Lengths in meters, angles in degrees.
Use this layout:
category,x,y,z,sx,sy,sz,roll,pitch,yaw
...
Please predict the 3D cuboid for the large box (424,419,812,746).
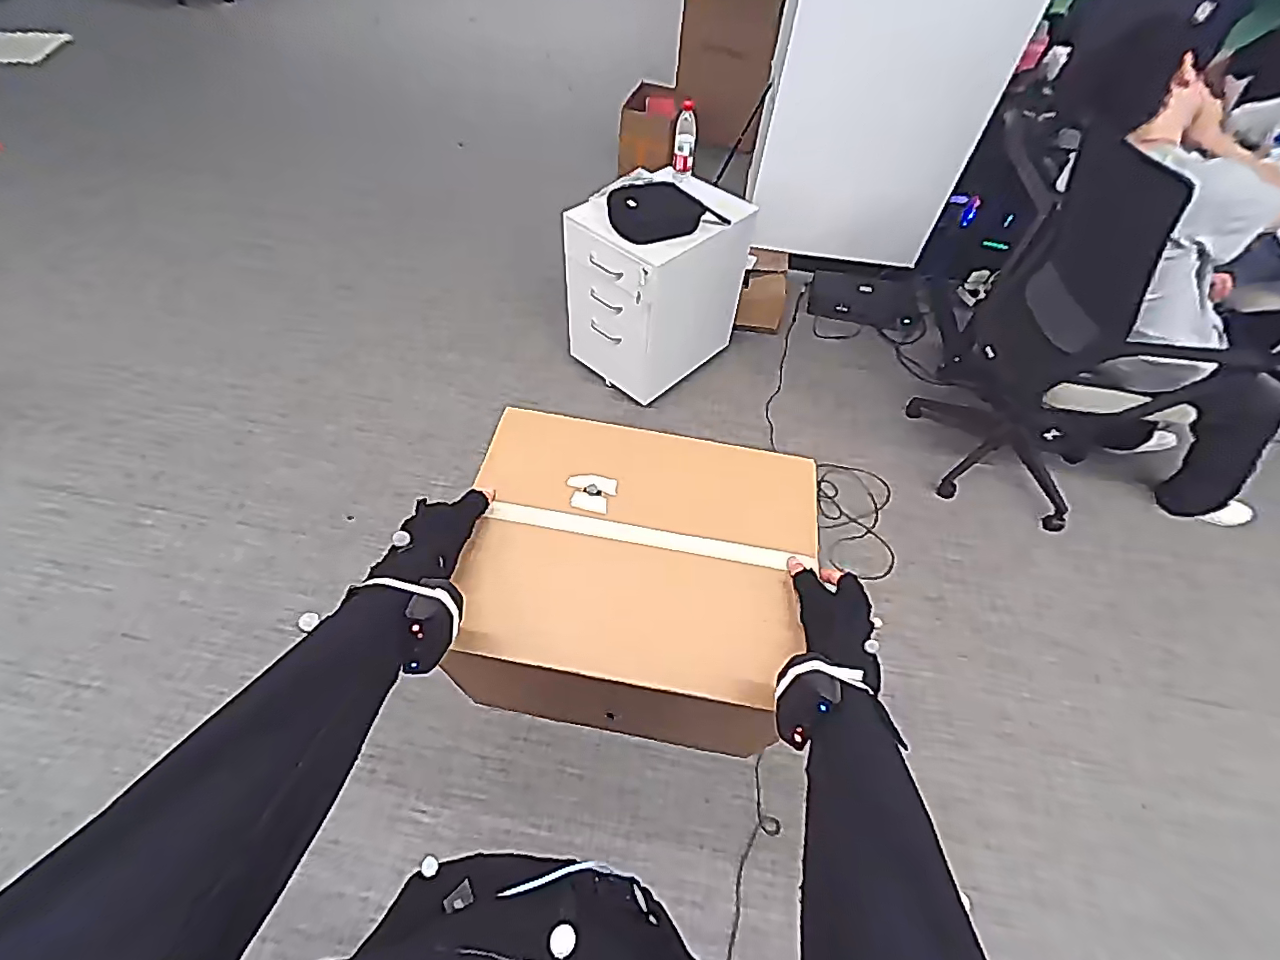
category,x,y,z,sx,sy,sz,roll,pitch,yaw
large box,-0.010,0.155,0.746,0.408,0.320,0.320,10,56,2
